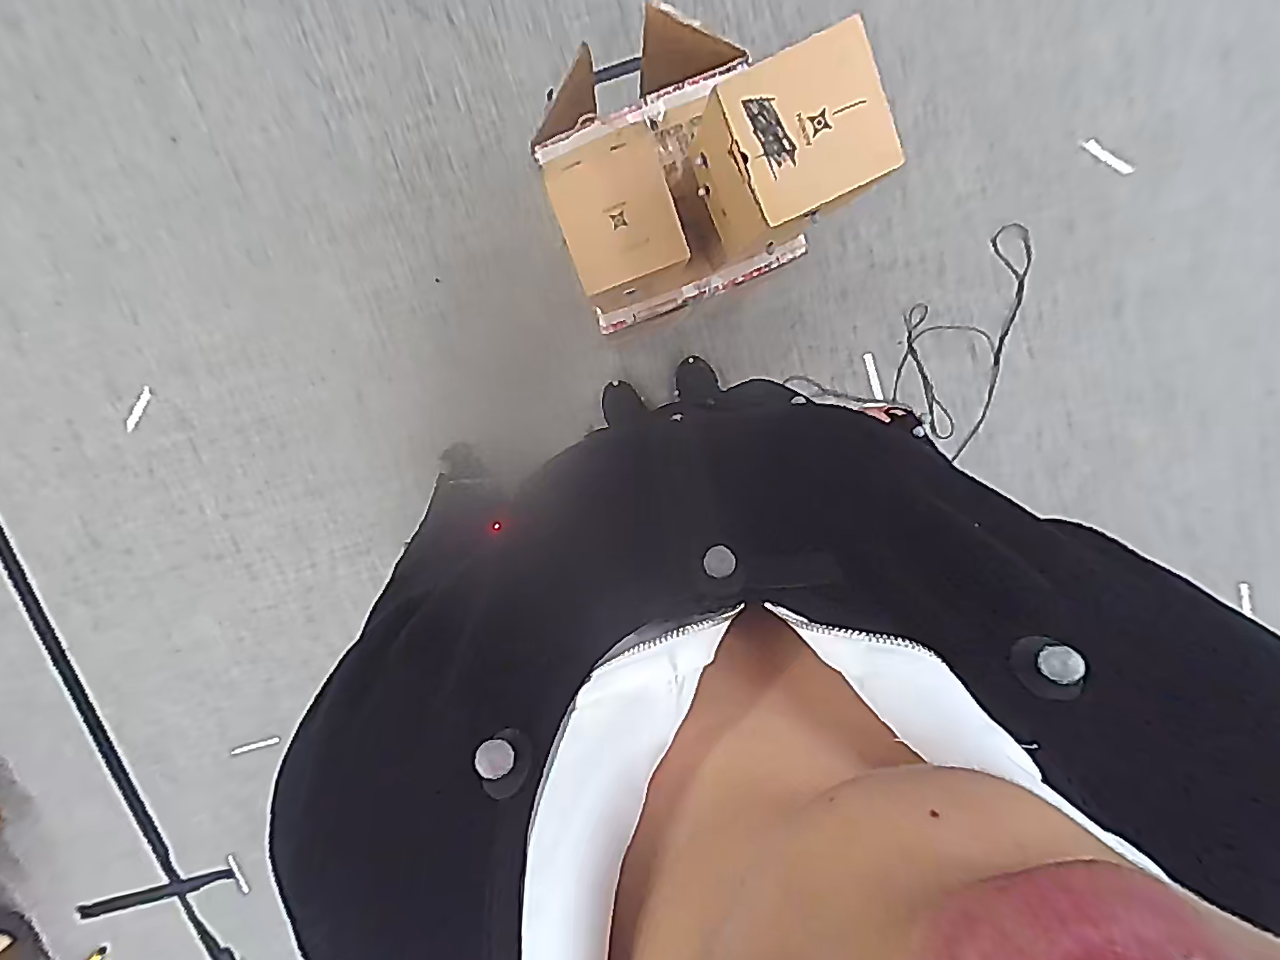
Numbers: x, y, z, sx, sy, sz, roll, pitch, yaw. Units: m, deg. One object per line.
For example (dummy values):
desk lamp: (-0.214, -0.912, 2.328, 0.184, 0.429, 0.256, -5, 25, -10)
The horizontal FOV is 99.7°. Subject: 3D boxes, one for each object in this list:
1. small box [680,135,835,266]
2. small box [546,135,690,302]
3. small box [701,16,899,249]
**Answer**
small box: (0.180, -0.463, 0.854, 0.179, 0.176, 0.168, -25, 102, 2)
small box: (-0.032, -0.400, 0.861, 0.168, 0.176, 0.179, -21, 103, 5)
small box: (0.188, -0.422, 0.694, 0.179, 0.176, 0.168, -25, 103, 2)
